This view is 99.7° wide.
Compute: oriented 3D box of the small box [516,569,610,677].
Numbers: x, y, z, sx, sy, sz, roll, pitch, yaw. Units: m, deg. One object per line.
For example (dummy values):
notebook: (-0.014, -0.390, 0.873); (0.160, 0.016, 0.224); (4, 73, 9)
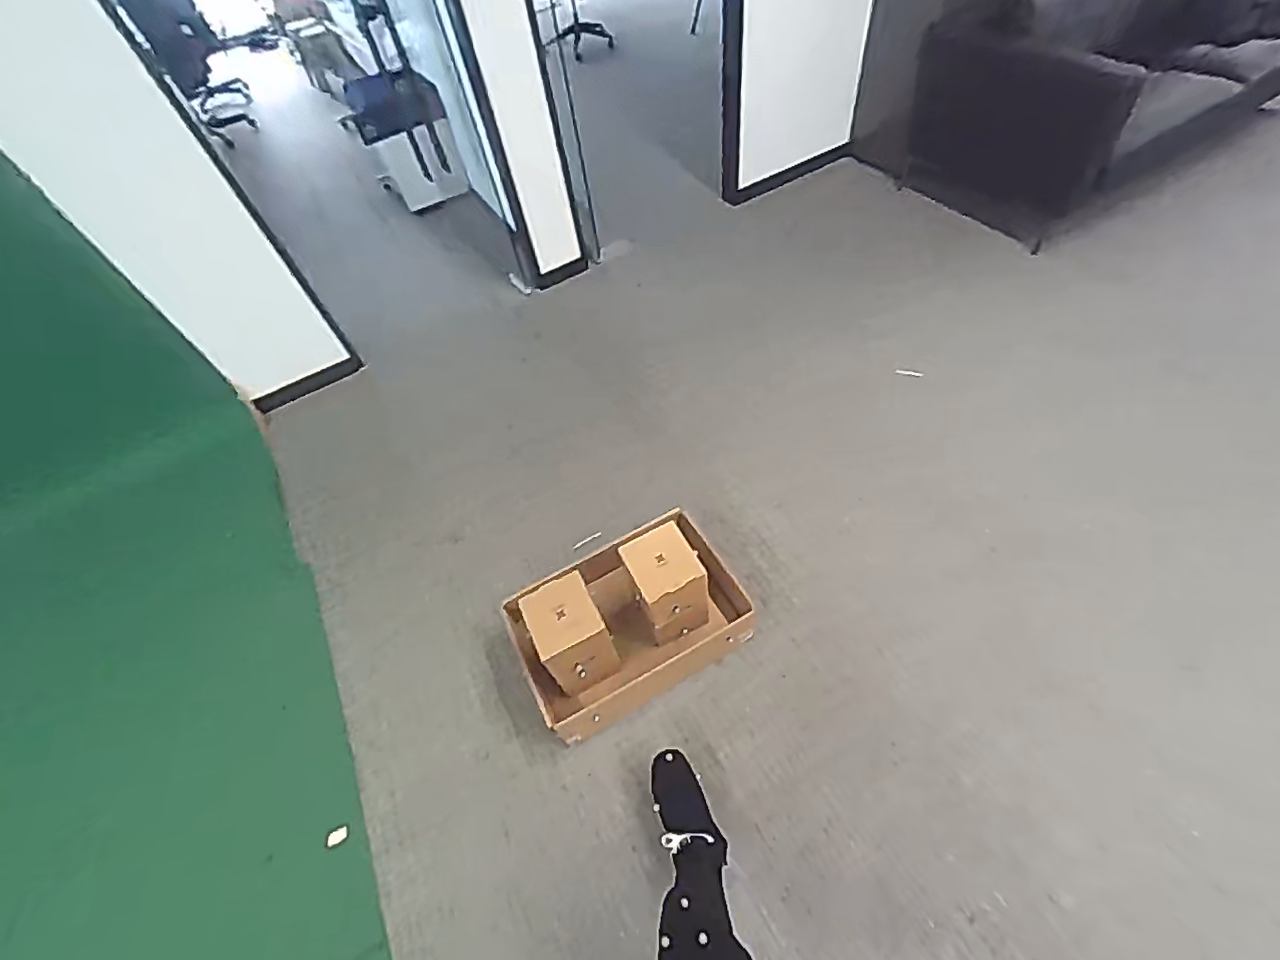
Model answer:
small box: (-0.189, 0.361, 1.353); (0.168, 0.176, 0.179); (-25, 55, -11)

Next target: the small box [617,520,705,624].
small box: (0.056, 0.242, 1.409); (0.168, 0.176, 0.179); (-26, 56, -11)

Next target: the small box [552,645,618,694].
small box: (-0.174, 0.454, 1.485); (0.168, 0.176, 0.179); (-25, 54, -11)
